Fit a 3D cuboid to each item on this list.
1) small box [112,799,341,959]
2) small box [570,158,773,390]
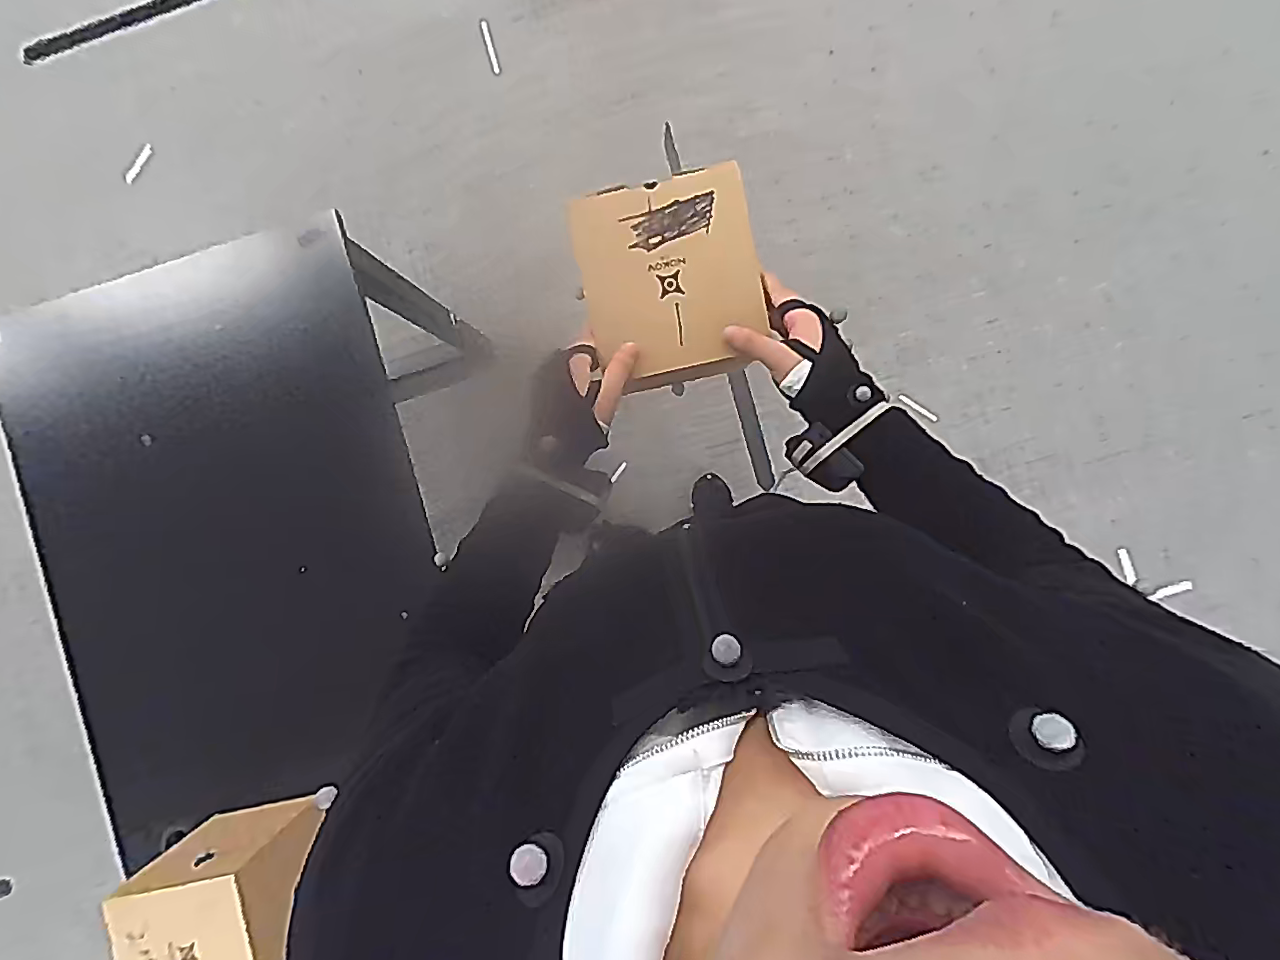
[{"bbox_3d":[-0.537,0.568,0.733,0.179,0.176,0.168,-13,89,4],"label":"small box"},{"bbox_3d":[0.030,-0.202,0.579,0.168,0.176,0.179,-11,96,3],"label":"small box"}]
